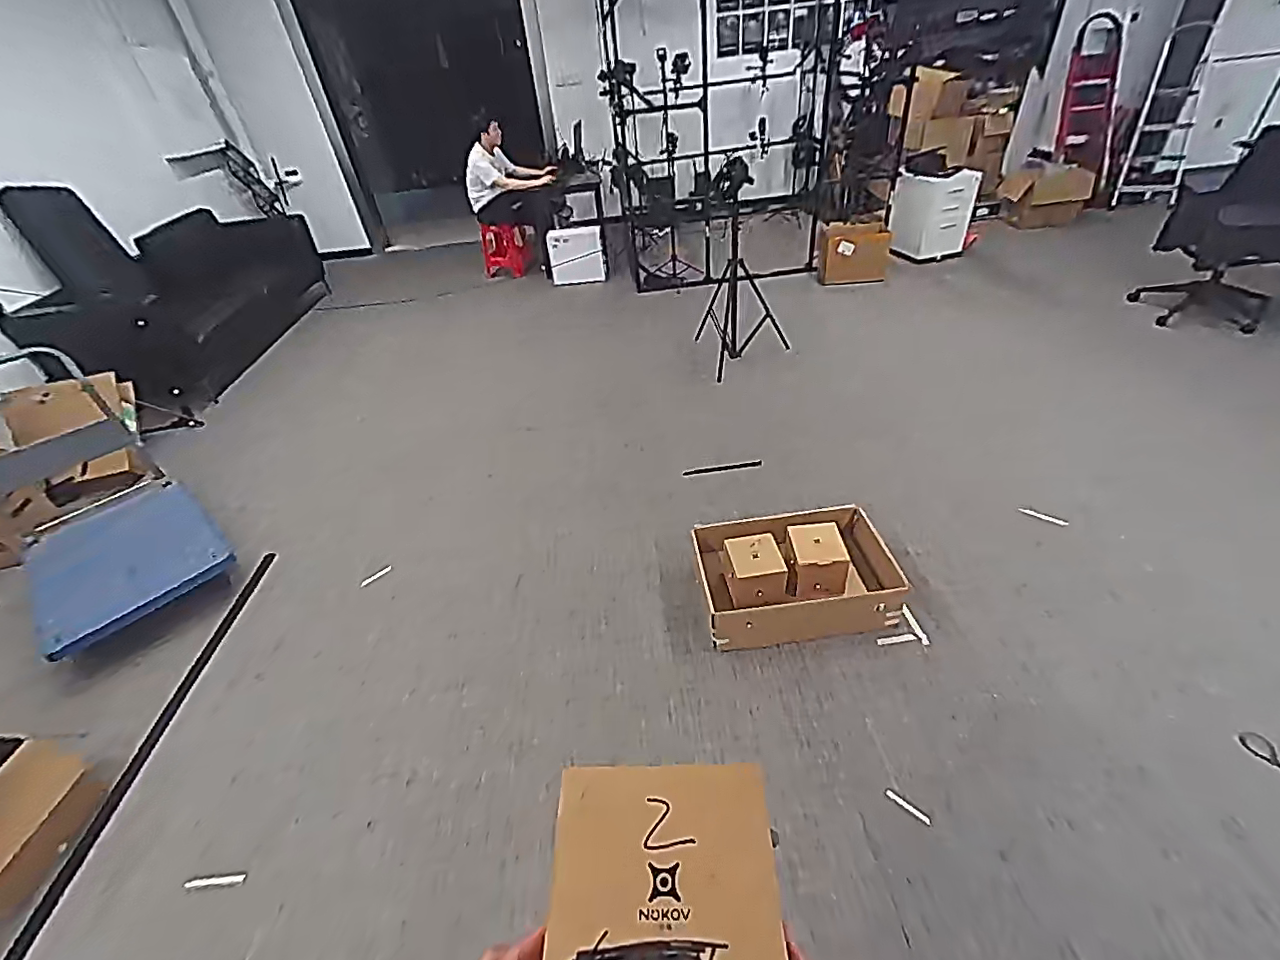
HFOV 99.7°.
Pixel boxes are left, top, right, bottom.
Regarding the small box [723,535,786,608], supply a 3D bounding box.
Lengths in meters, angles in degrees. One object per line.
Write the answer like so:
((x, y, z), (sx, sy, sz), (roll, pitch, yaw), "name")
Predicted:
((0.379, 0.314, 1.815), (0.168, 0.176, 0.179), (-8, 38, -3), "small box")

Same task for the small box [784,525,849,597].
((0.593, 0.275, 1.836), (0.168, 0.176, 0.179), (-5, 38, 4), "small box")
